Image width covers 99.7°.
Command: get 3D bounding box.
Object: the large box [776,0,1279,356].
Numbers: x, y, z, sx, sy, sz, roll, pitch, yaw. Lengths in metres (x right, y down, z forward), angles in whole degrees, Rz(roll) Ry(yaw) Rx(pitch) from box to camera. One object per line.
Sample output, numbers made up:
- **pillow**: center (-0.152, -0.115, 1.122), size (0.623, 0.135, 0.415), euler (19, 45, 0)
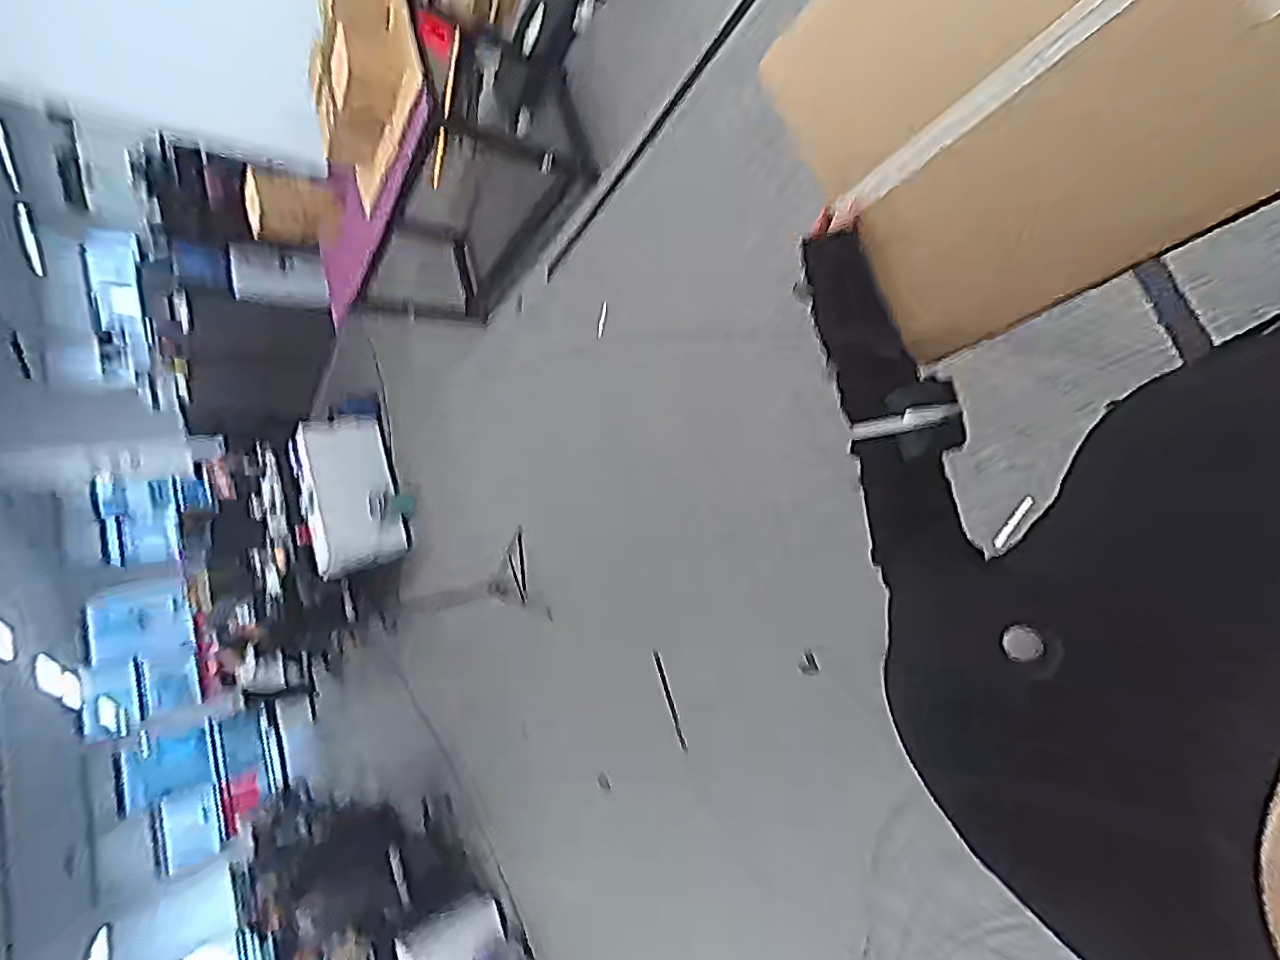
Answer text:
- **large box**: center (0.404, -0.350, 0.453), size (0.408, 0.320, 0.320), euler (-29, 87, 44)
